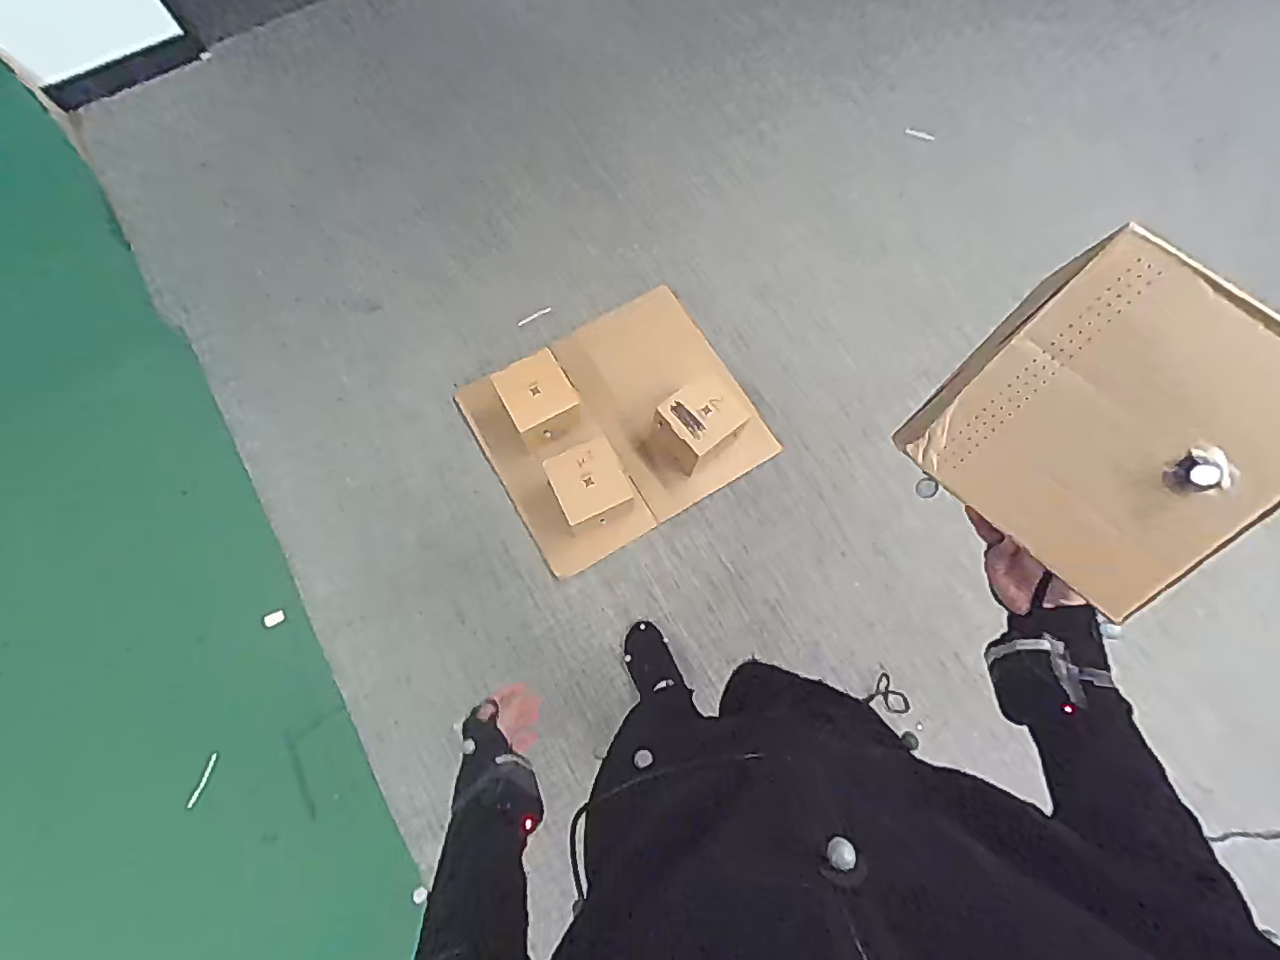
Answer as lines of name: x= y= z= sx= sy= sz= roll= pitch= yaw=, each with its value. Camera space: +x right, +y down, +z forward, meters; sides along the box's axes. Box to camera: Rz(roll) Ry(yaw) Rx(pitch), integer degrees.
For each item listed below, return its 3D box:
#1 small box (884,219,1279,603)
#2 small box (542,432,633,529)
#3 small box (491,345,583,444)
small box: x=0.310 y=-0.050 z=0.392 sx=0.176 sy=0.168 sz=0.179 roll=44 pitch=110 yaw=12
small box: x=-0.125 y=0.010 z=1.344 sx=0.168 sy=0.176 sz=0.179 roll=-24 pitch=76 yaw=-9
small box: x=-0.260 y=-0.210 z=1.403 sx=0.168 sy=0.176 sz=0.179 roll=-28 pitch=77 yaw=-9
